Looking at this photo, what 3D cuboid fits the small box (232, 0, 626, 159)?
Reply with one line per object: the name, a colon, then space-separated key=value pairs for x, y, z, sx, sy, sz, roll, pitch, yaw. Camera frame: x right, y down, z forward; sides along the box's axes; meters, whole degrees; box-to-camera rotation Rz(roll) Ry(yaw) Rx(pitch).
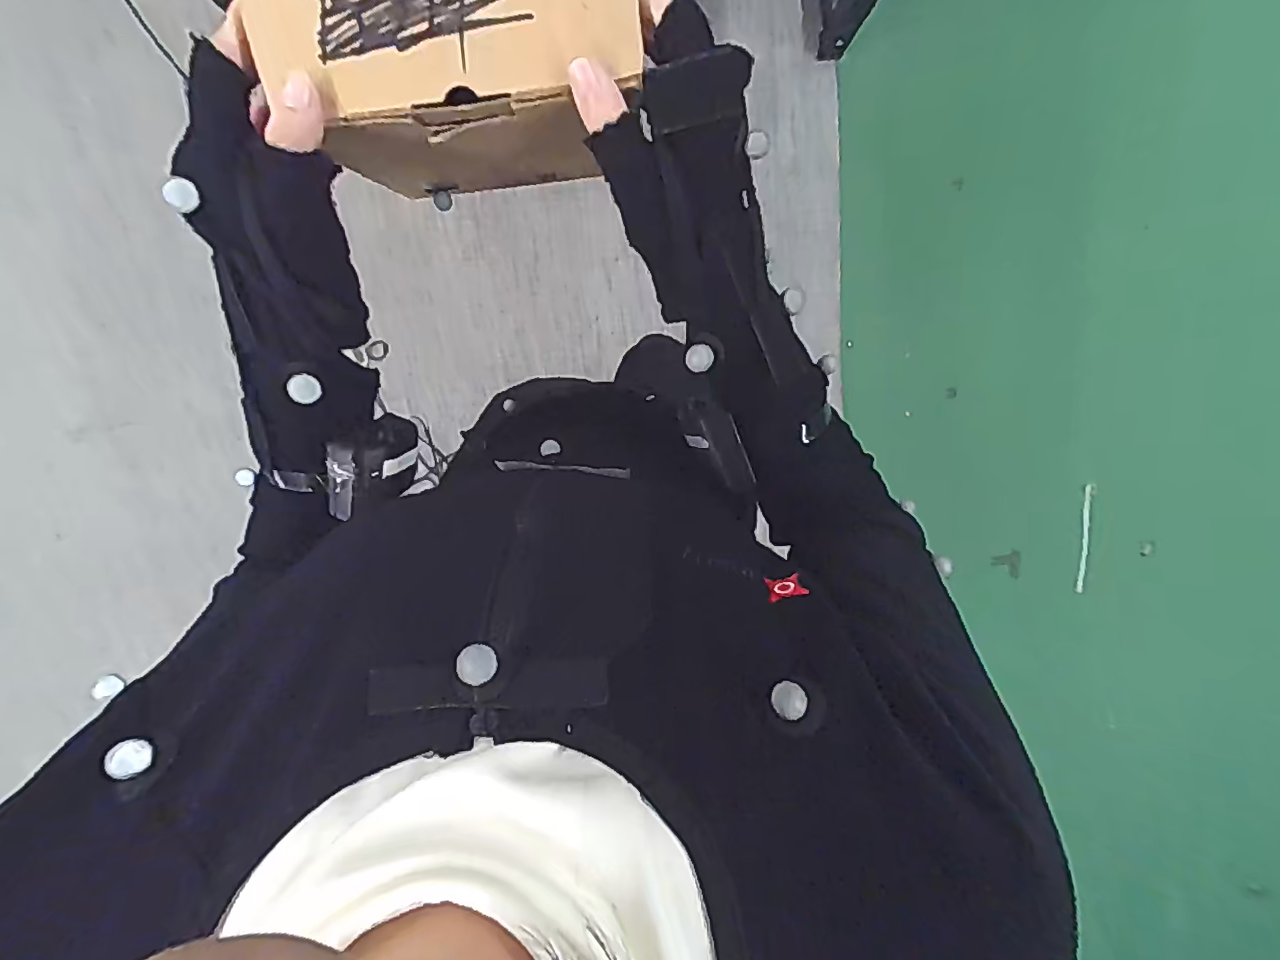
small box: x=-0.096 y=-0.287 z=0.283 sx=0.168 sy=0.176 sz=0.179 roll=-7 pitch=107 yaw=0
